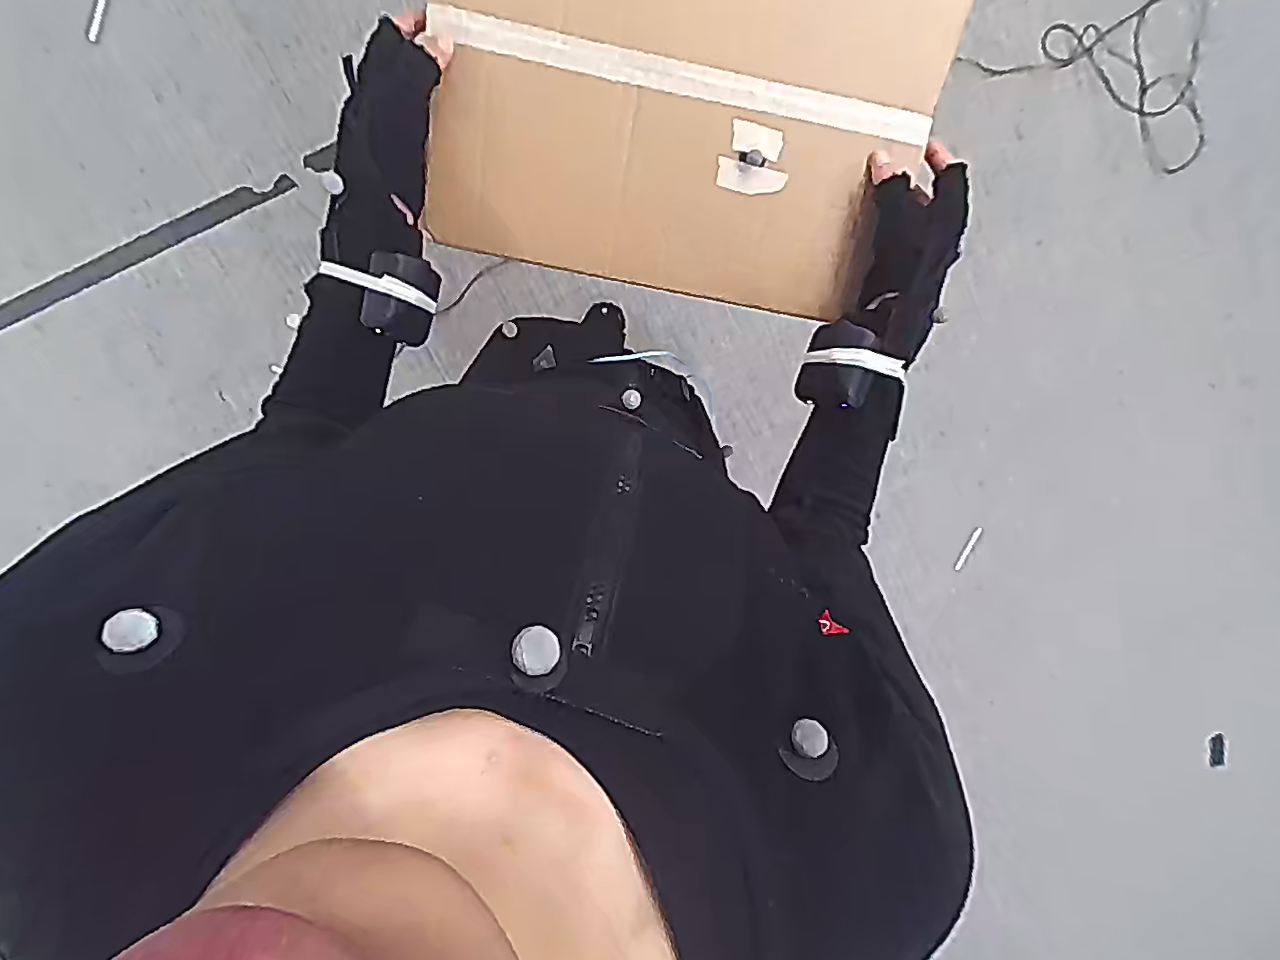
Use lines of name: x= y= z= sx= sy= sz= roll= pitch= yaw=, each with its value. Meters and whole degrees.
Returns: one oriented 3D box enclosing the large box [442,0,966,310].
large box: x=0.041 y=-0.388 z=0.576 sx=0.408 sy=0.320 sz=0.320 roll=10 pitch=113 yaw=-5
